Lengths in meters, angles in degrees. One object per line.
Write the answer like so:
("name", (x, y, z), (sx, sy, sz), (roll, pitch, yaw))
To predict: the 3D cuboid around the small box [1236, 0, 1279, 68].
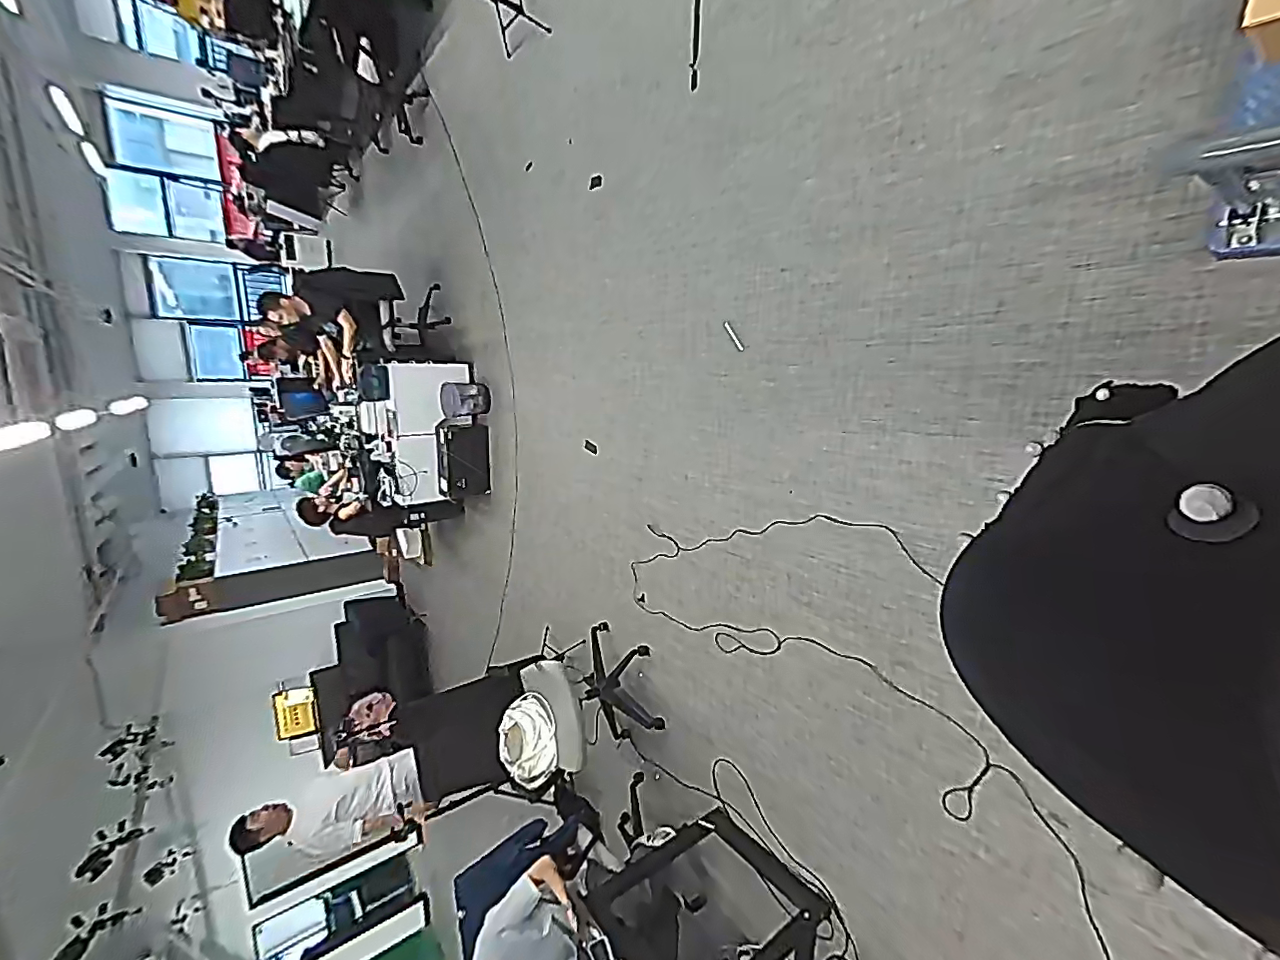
("small box", (0.962, -0.702, 0.731), (0.179, 0.176, 0.168), (17, 110, 48))
